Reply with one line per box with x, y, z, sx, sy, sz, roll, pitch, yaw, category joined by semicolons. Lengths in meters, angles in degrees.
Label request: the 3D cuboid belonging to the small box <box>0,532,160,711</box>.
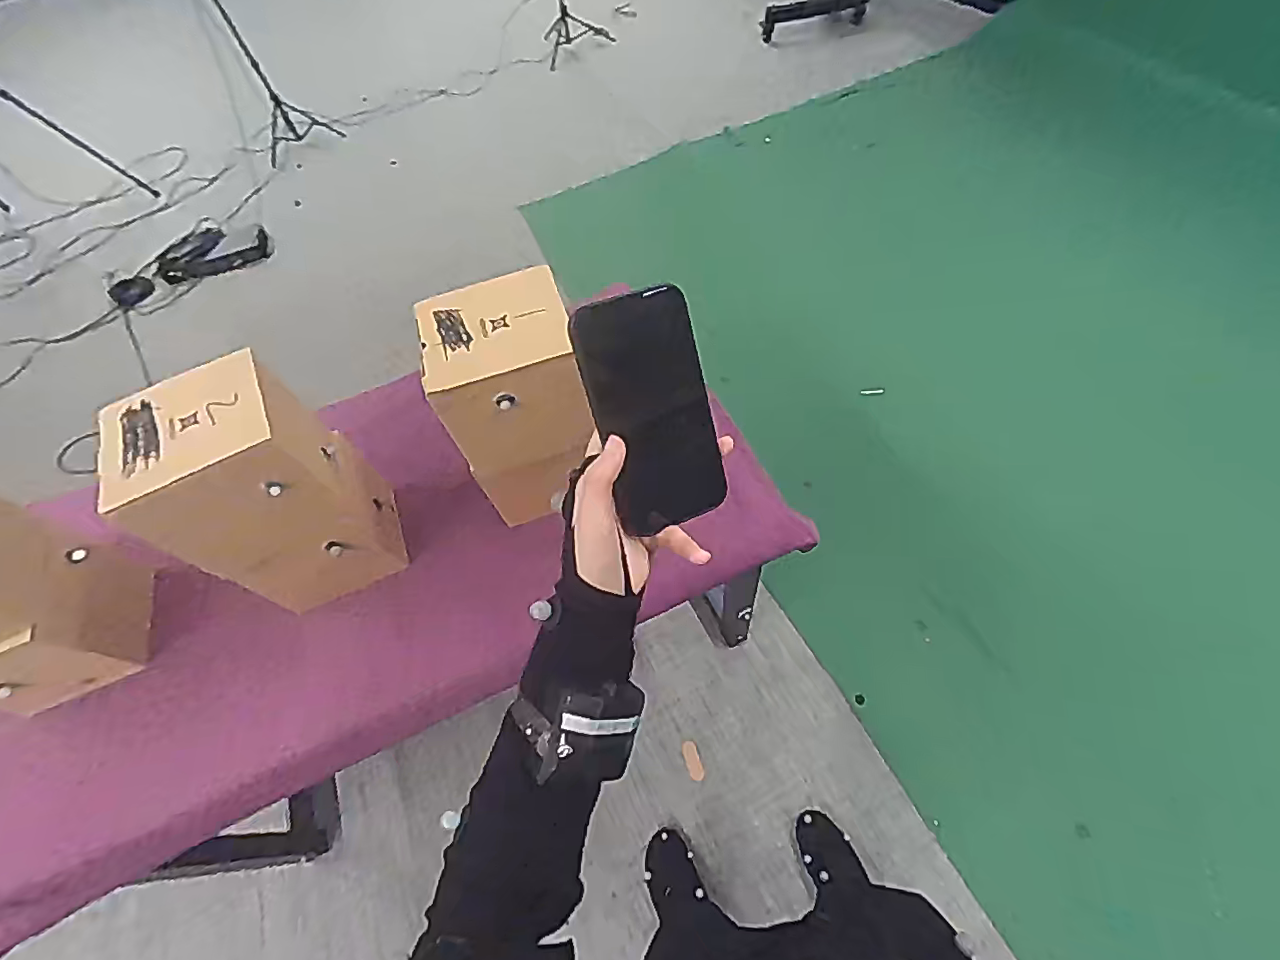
-0.835;0.209;0.767;0.168;0.176;0.179;-23;58;-7;small box

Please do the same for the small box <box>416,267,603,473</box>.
-0.162;-0.134;0.695;0.179;0.176;0.168;-18;57;-4;small box

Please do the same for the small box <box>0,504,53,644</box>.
-0.858;0.115;0.633;0.168;0.176;0.179;-27;59;-10;small box

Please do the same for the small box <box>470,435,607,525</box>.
-0.156;-0.055;0.839;0.179;0.176;0.168;-19;57;-3;small box

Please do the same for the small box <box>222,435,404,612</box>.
-0.472;0.069;0.803;0.179;0.176;0.168;-24;58;-7;small box
